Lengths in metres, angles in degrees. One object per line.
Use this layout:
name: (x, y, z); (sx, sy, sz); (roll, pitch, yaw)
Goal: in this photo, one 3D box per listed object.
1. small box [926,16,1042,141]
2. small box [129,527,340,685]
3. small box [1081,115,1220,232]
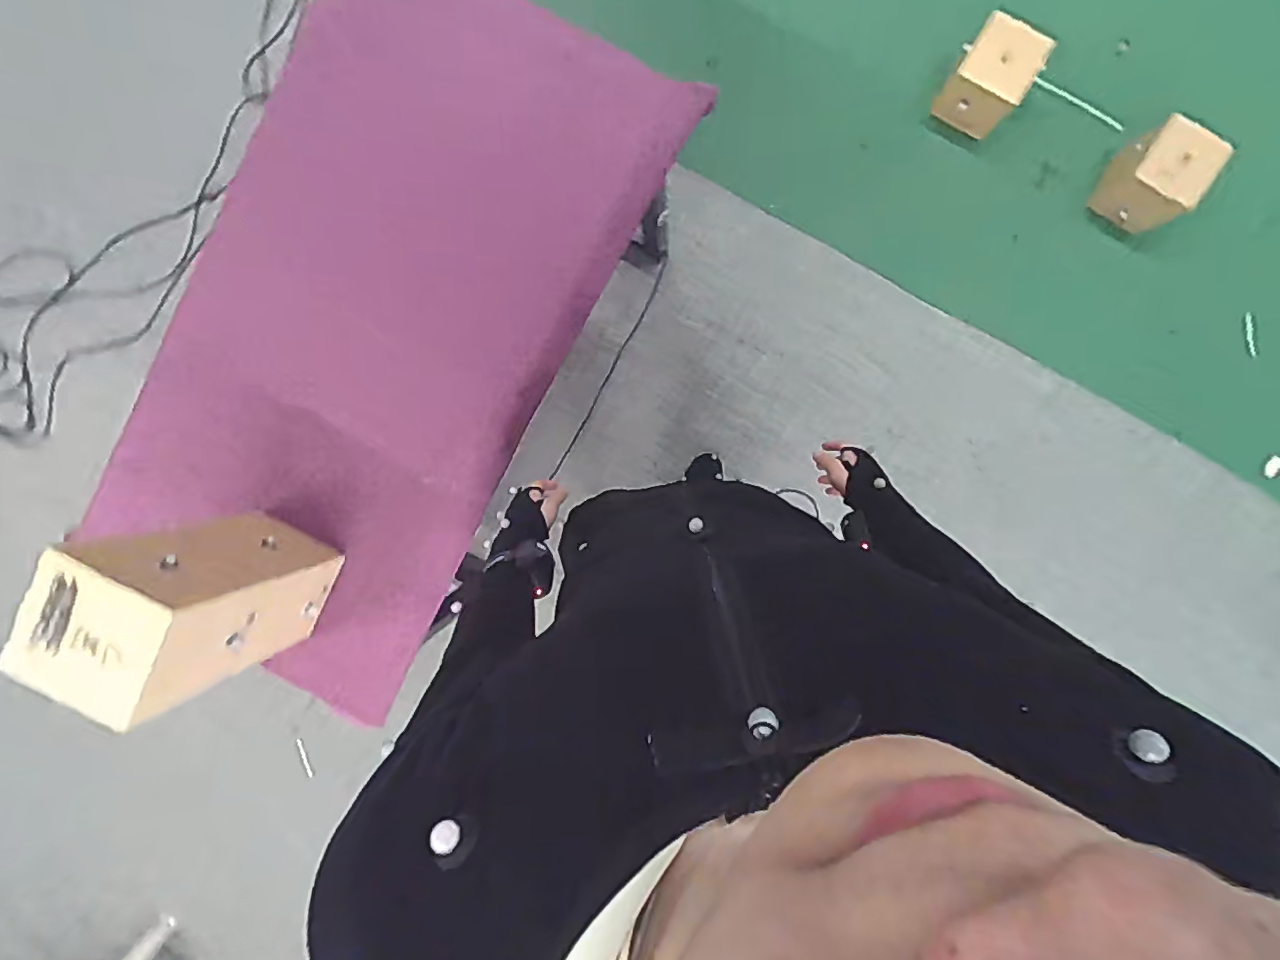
small box: (0.898, -1.055, 1.437); (0.168, 0.176, 0.179); (30, 94, 1)
small box: (-0.629, 0.186, 0.860); (0.179, 0.176, 0.168); (26, 94, 1)
small box: (1.331, -0.798, 1.425); (0.168, 0.176, 0.179); (31, 95, 1)
